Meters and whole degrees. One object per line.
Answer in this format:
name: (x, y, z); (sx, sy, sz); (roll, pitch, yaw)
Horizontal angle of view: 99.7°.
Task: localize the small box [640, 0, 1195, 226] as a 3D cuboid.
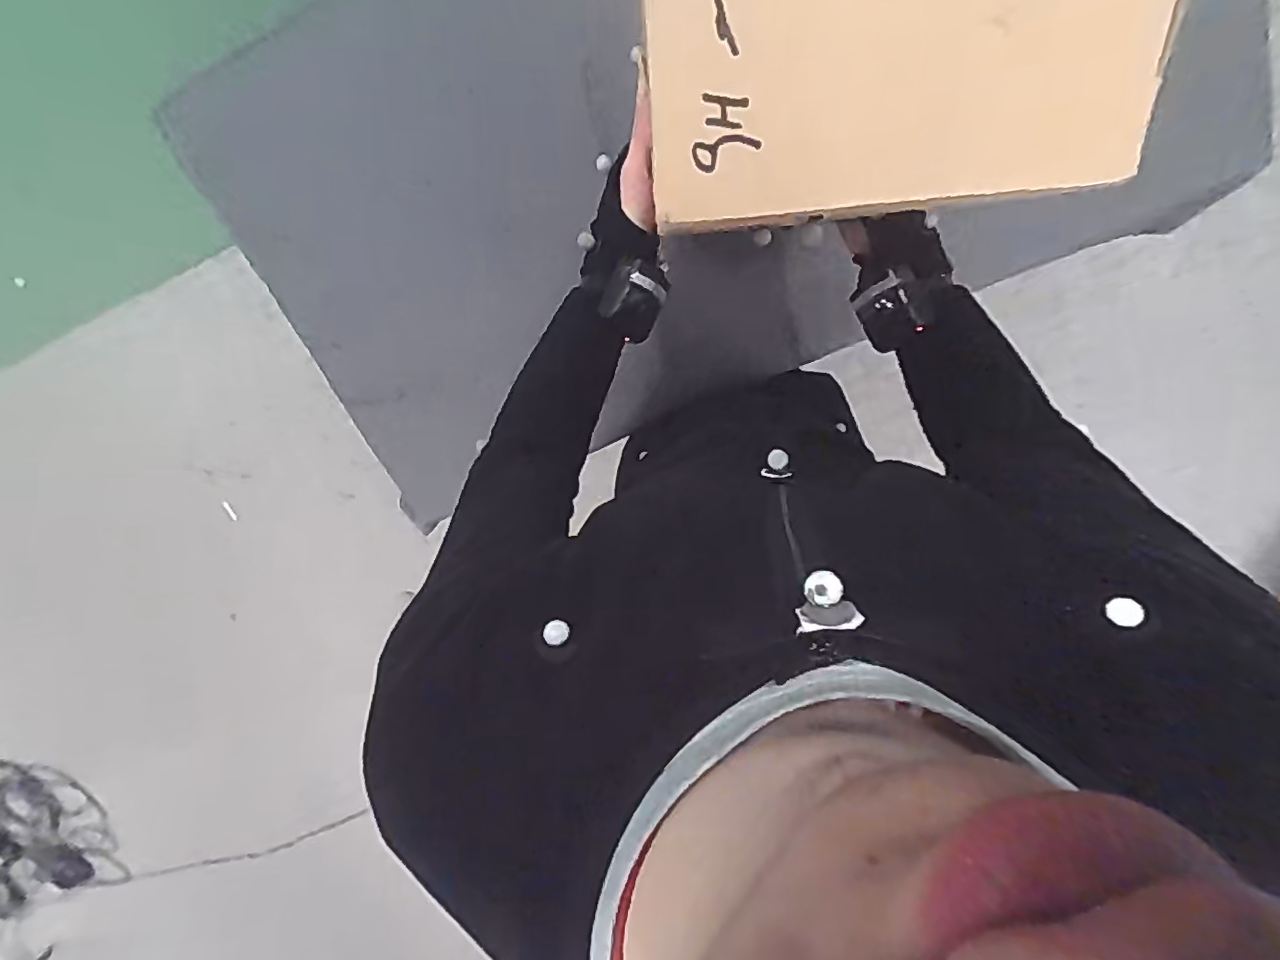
small box: (0.089, -0.207, 0.236); (0.179, 0.176, 0.168); (-2, 113, 3)
